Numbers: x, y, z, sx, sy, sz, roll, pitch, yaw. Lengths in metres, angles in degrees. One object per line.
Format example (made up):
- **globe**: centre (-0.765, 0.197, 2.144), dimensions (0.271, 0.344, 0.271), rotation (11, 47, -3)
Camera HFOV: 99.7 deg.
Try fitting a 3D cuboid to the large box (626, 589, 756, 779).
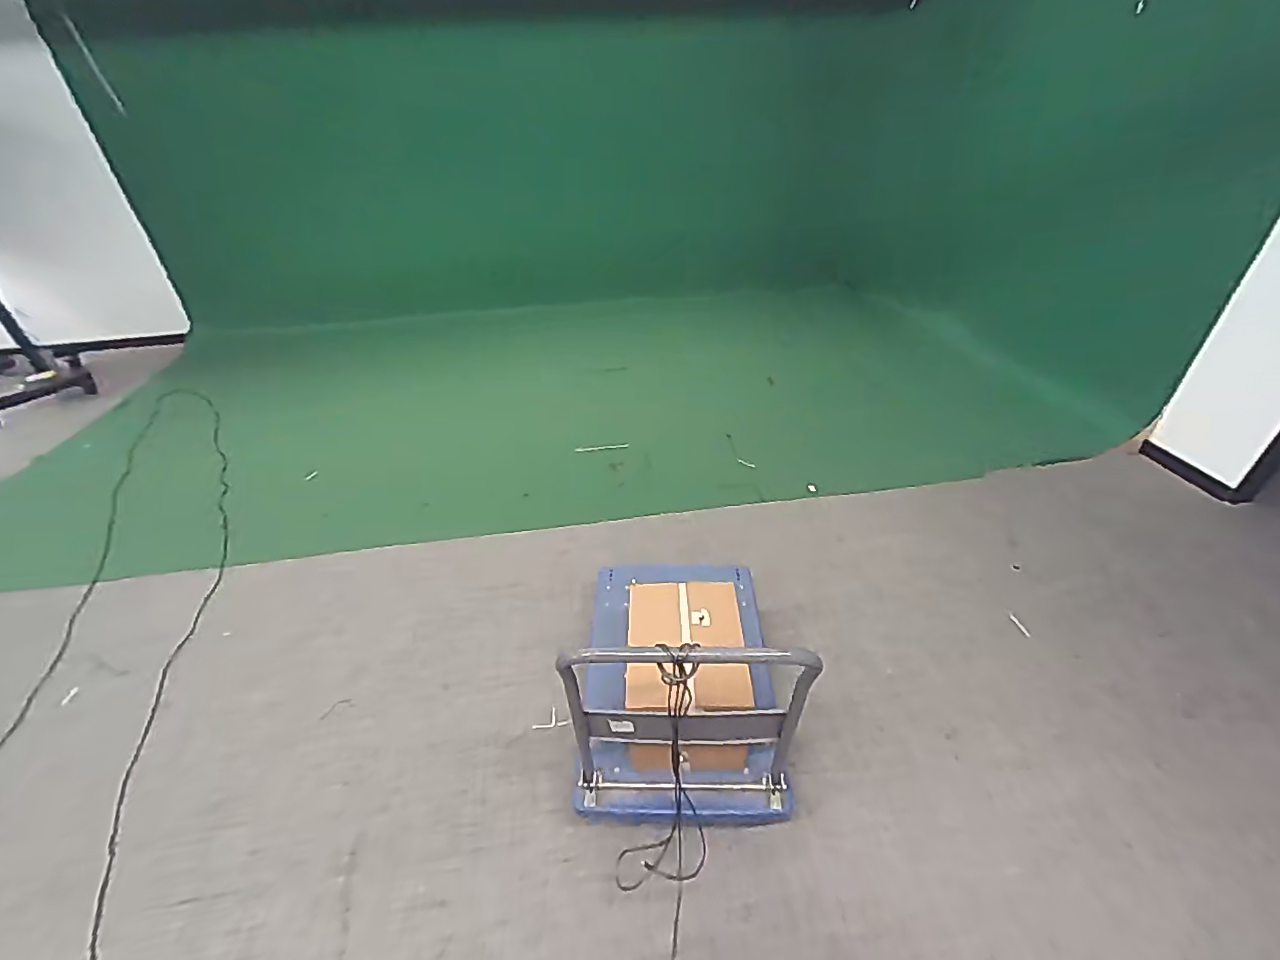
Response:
- **large box**: centre (0.131, 0.564, 1.520), dimensions (0.320, 0.320, 0.408), rotation (-1, 35, 2)
